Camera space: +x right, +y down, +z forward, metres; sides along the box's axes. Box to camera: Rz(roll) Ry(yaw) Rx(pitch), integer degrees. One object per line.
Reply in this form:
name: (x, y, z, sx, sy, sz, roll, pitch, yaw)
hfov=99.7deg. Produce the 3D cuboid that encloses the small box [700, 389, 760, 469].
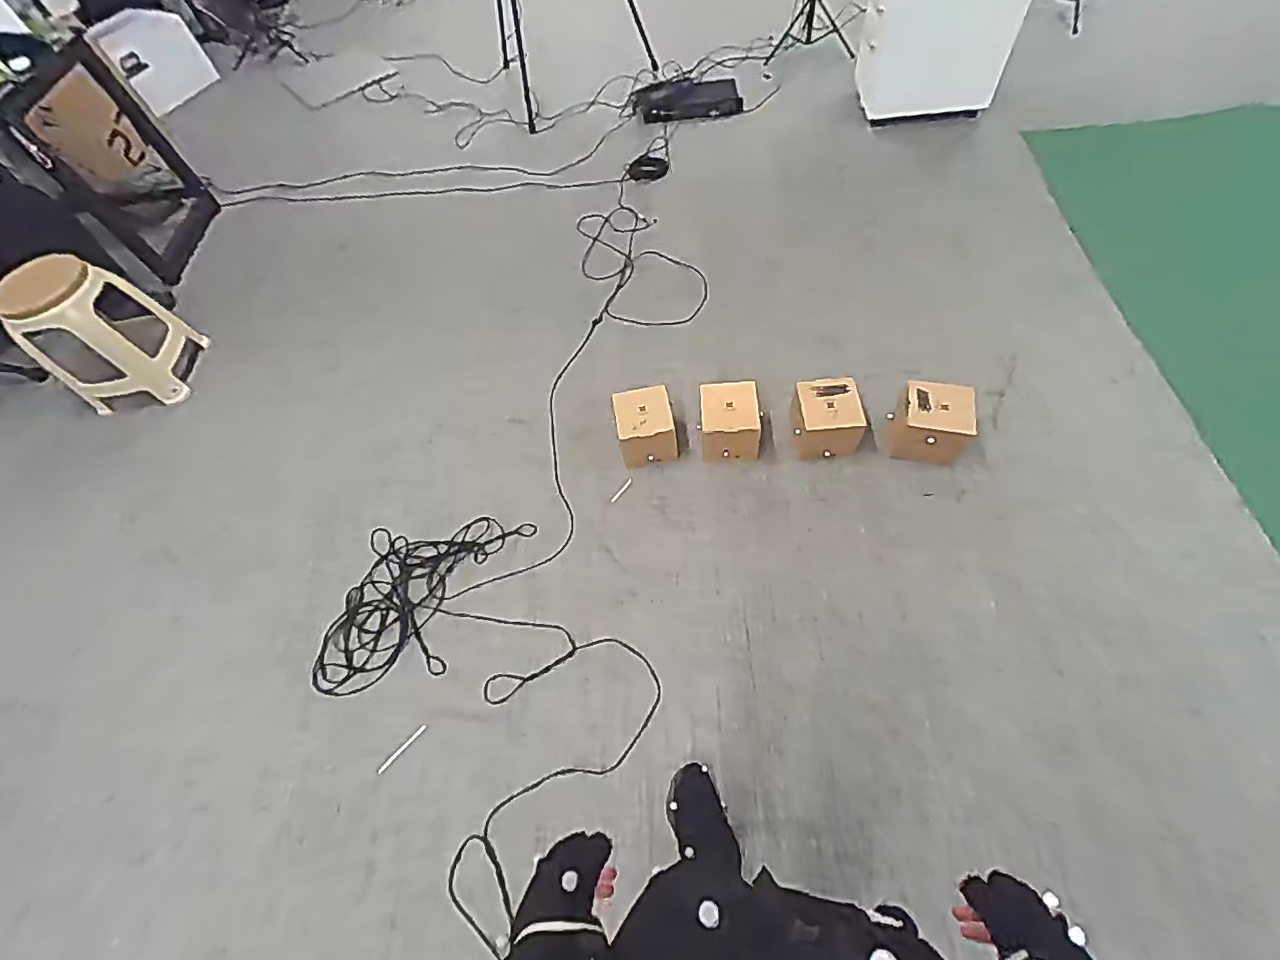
small box: (0.269, -0.153, 1.645, 0.168, 0.176, 0.179, -3, 59, 5)

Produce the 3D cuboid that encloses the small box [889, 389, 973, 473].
small box: (0.834, -0.139, 1.565, 0.179, 0.176, 0.168, 10, 61, 11)

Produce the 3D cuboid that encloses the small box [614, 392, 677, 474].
small box: (0.018, -0.142, 1.667, 0.168, 0.176, 0.179, -10, 59, 2)
